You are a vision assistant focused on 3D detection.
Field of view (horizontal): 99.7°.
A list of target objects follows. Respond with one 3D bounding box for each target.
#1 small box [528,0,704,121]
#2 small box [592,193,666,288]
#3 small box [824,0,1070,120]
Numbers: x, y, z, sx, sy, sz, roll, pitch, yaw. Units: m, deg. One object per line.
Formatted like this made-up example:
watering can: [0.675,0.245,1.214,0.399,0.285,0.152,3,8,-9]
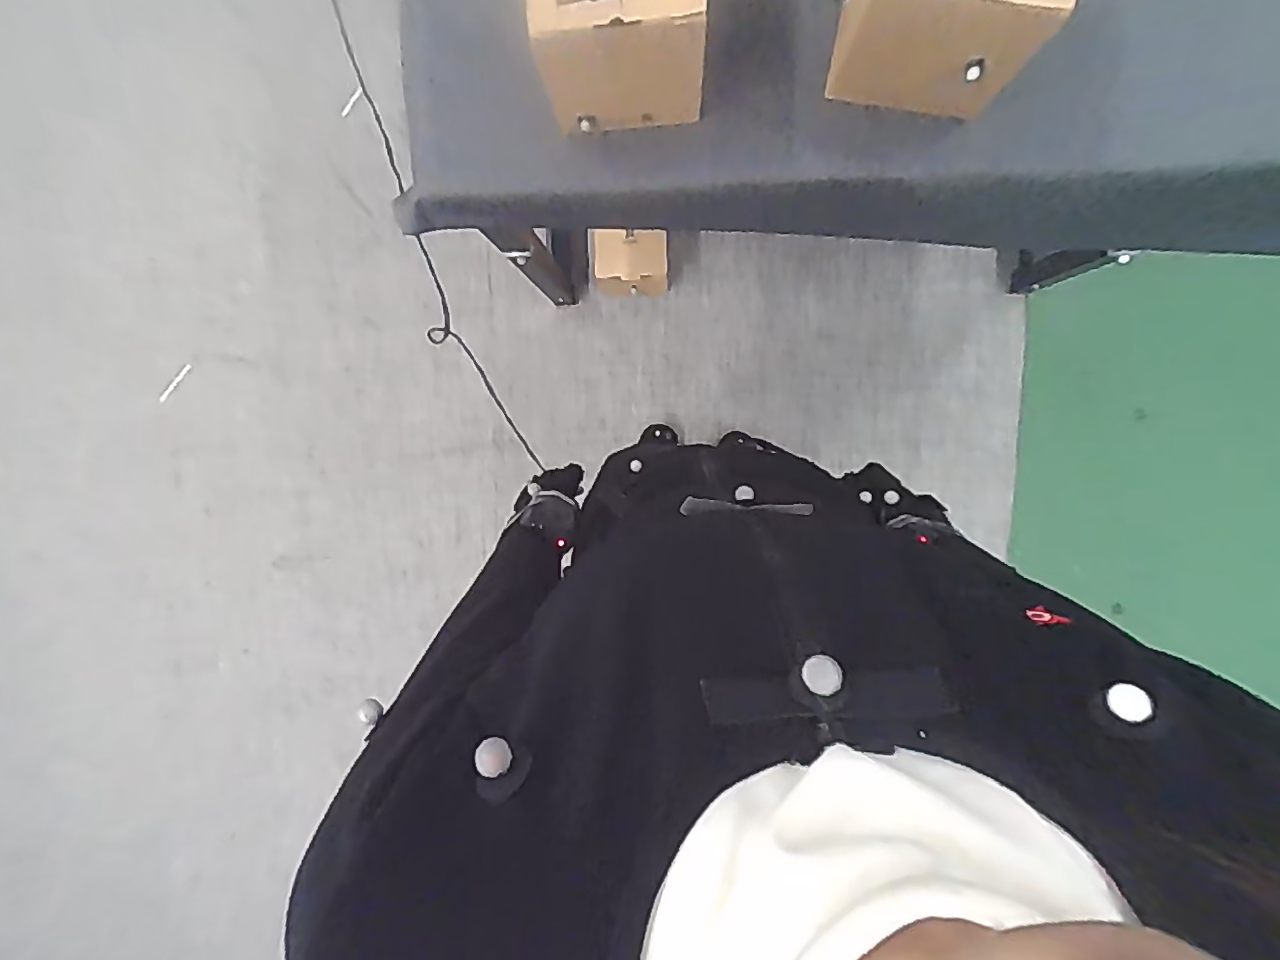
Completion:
small box: [-0.019,-0.507,0.567,0.168,0.176,0.179,-2,94,3]
small box: [-0.022,-0.565,1.298,0.168,0.176,0.179,0,97,3]
small box: [0.311,-0.506,0.554,0.179,0.176,0.168,10,95,3]
